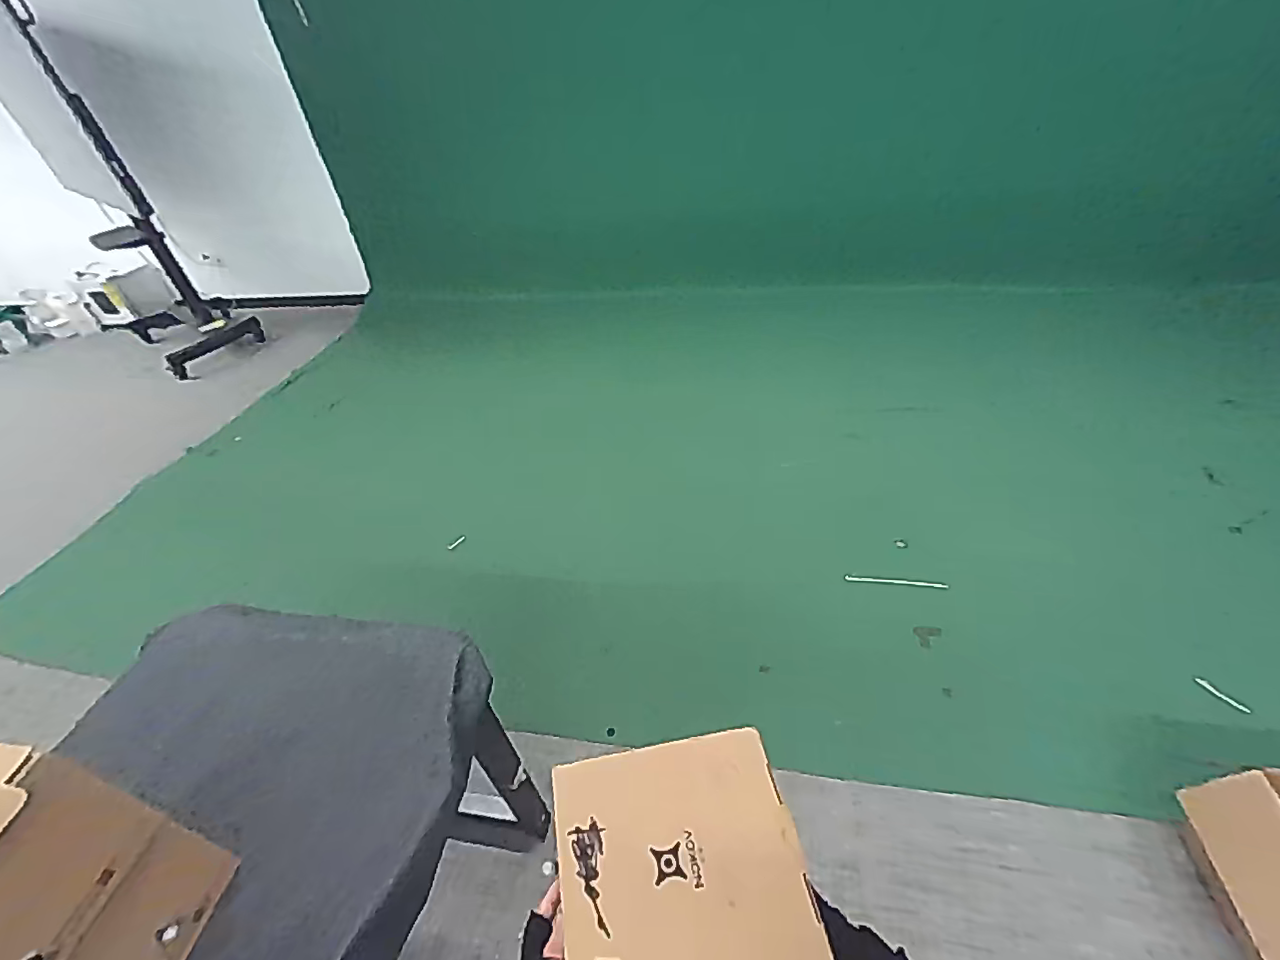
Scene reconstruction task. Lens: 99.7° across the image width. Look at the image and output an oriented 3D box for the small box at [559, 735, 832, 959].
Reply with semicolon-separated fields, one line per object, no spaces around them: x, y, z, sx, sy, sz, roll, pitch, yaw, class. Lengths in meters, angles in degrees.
0.030;0.338;0.449;0.179;0.176;0.168;-6;43;-7;small box
